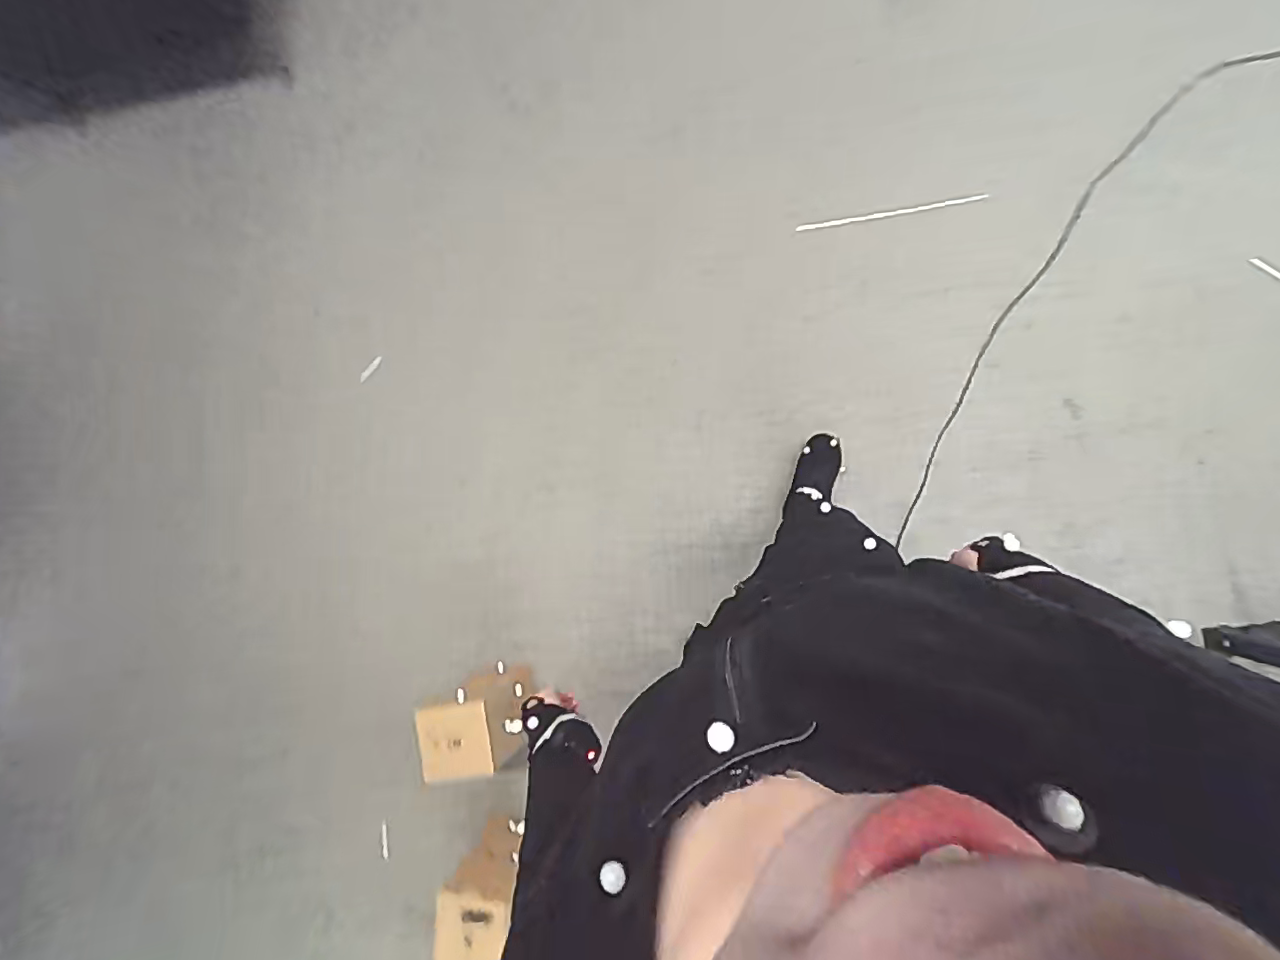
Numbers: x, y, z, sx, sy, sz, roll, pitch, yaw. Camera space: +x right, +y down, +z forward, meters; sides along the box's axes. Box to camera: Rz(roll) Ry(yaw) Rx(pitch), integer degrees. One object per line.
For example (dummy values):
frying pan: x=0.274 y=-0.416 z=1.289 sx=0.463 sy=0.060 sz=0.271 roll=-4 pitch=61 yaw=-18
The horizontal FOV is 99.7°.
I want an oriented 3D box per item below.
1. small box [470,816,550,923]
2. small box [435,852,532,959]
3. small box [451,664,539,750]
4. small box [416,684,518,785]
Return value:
small box: x=-0.344 y=1.031 z=1.439 sx=0.168 sy=0.176 sz=0.179 roll=1 pitch=87 yaw=10
small box: x=-0.362 y=1.022 z=1.275 sx=0.168 sy=0.176 sz=0.179 roll=2 pitch=88 yaw=10
small box: x=-0.387 y=0.620 z=1.470 sx=0.168 sy=0.176 sz=0.179 roll=-12 pitch=84 yaw=8
small box: x=-0.408 y=0.606 z=1.306 sx=0.179 sy=0.176 sz=0.168 roll=-11 pitch=84 yaw=9
